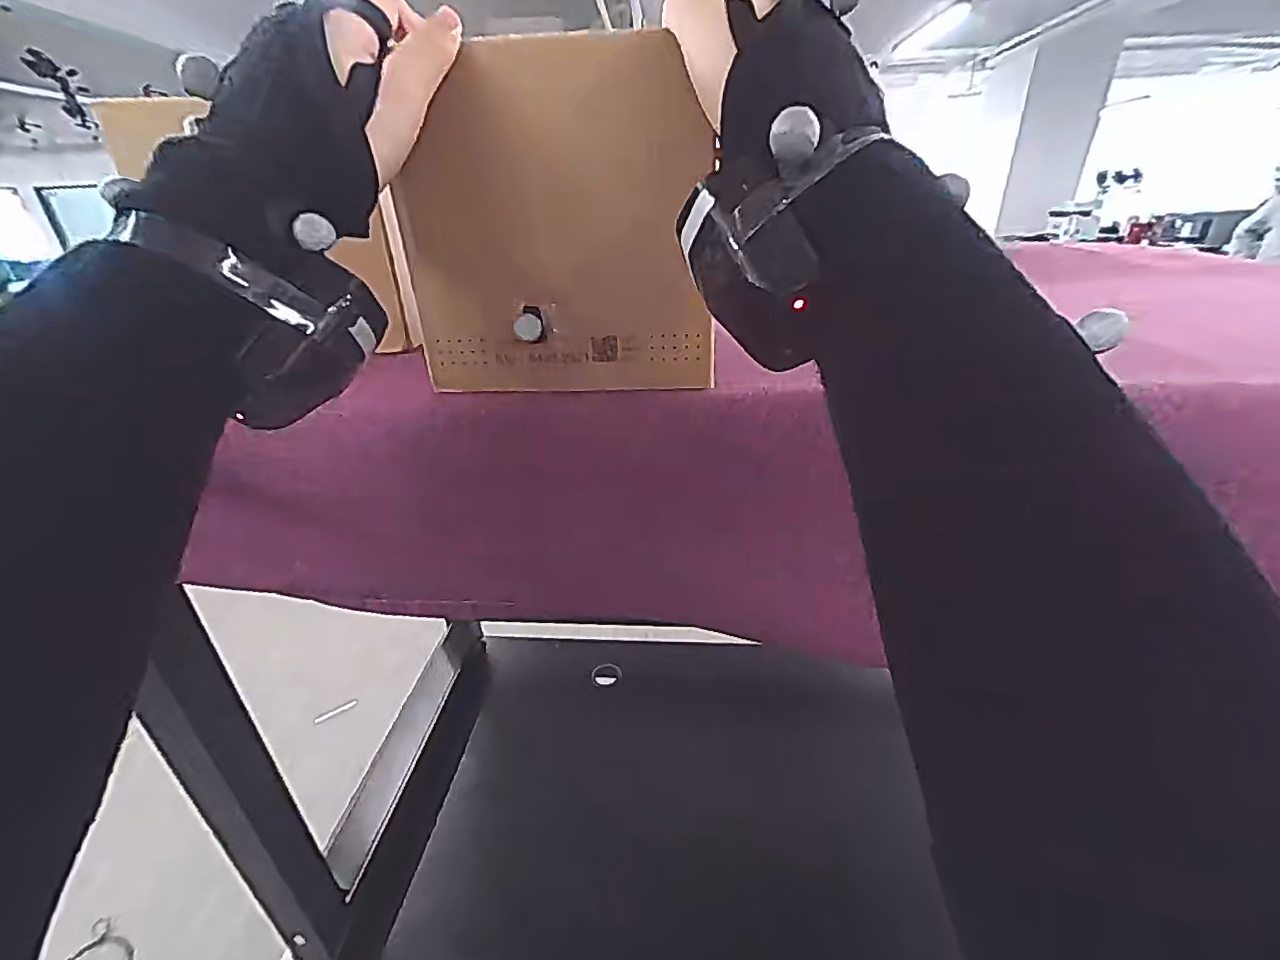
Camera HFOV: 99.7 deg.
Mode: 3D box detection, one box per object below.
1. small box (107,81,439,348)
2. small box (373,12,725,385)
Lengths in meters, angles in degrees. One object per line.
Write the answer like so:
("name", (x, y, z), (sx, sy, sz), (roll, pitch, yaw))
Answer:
("small box", (-0.259, -0.210, 0.452), (0.168, 0.176, 0.179), (-4, 26, -2))
("small box", (-0.036, -0.166, 0.352), (0.168, 0.176, 0.179), (-1, 27, 4))
